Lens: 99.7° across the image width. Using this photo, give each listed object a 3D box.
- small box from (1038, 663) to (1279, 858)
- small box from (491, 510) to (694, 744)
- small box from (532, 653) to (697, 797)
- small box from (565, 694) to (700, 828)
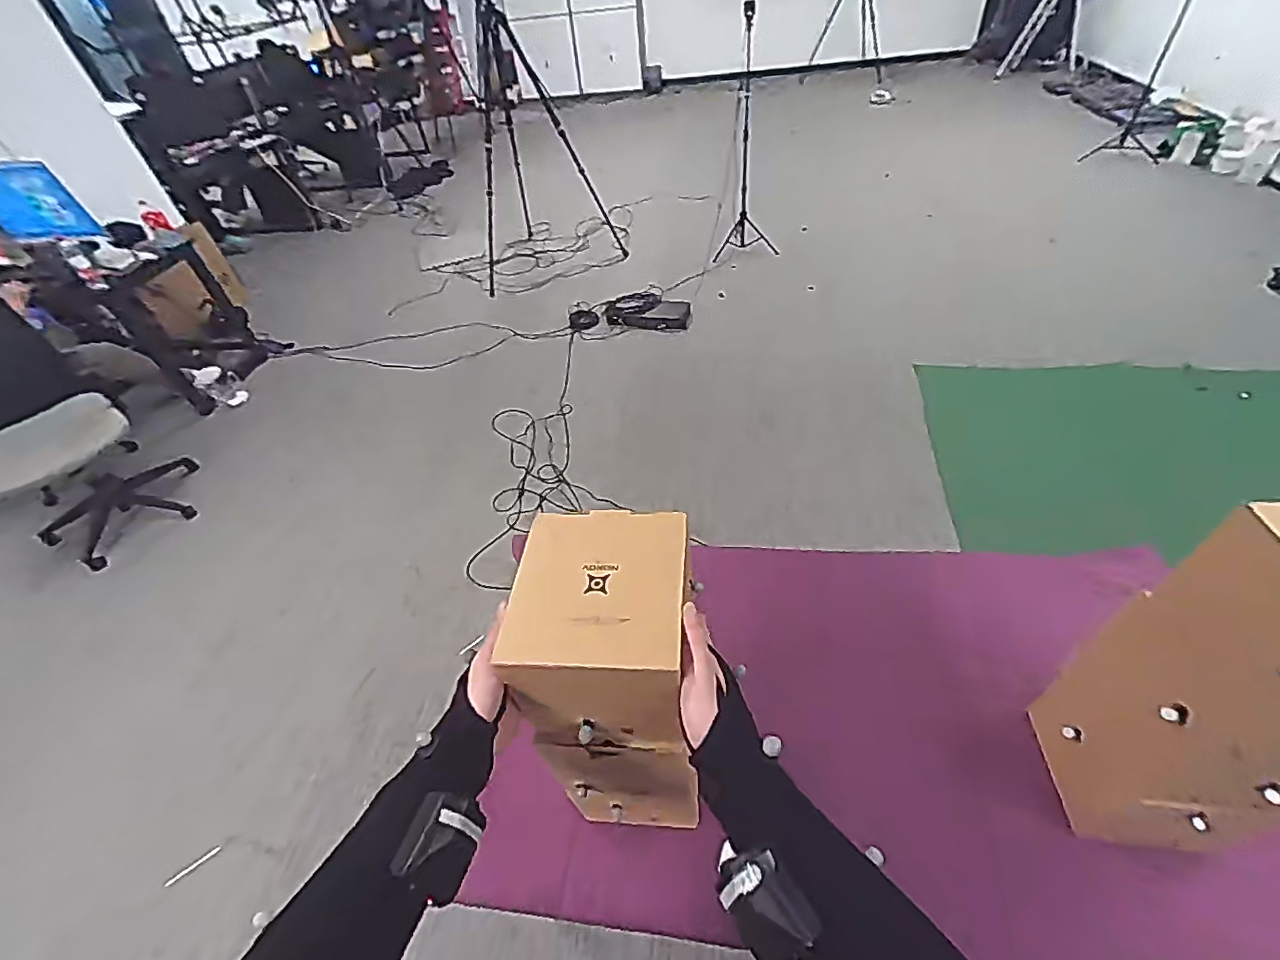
[{"bbox_3d":[0.666,0.364,0.707,0.168,0.176,0.179,0,44,10],"label":"small box"},{"bbox_3d":[-0.031,0.150,0.563,0.168,0.176,0.179,-1,45,9],"label":"small box"},{"bbox_3d":[-0.016,0.272,0.671,0.168,0.176,0.179,0,44,8],"label":"small box"},{"bbox_3d":[0.002,0.387,0.788,0.168,0.176,0.179,-1,45,8],"label":"small box"}]
